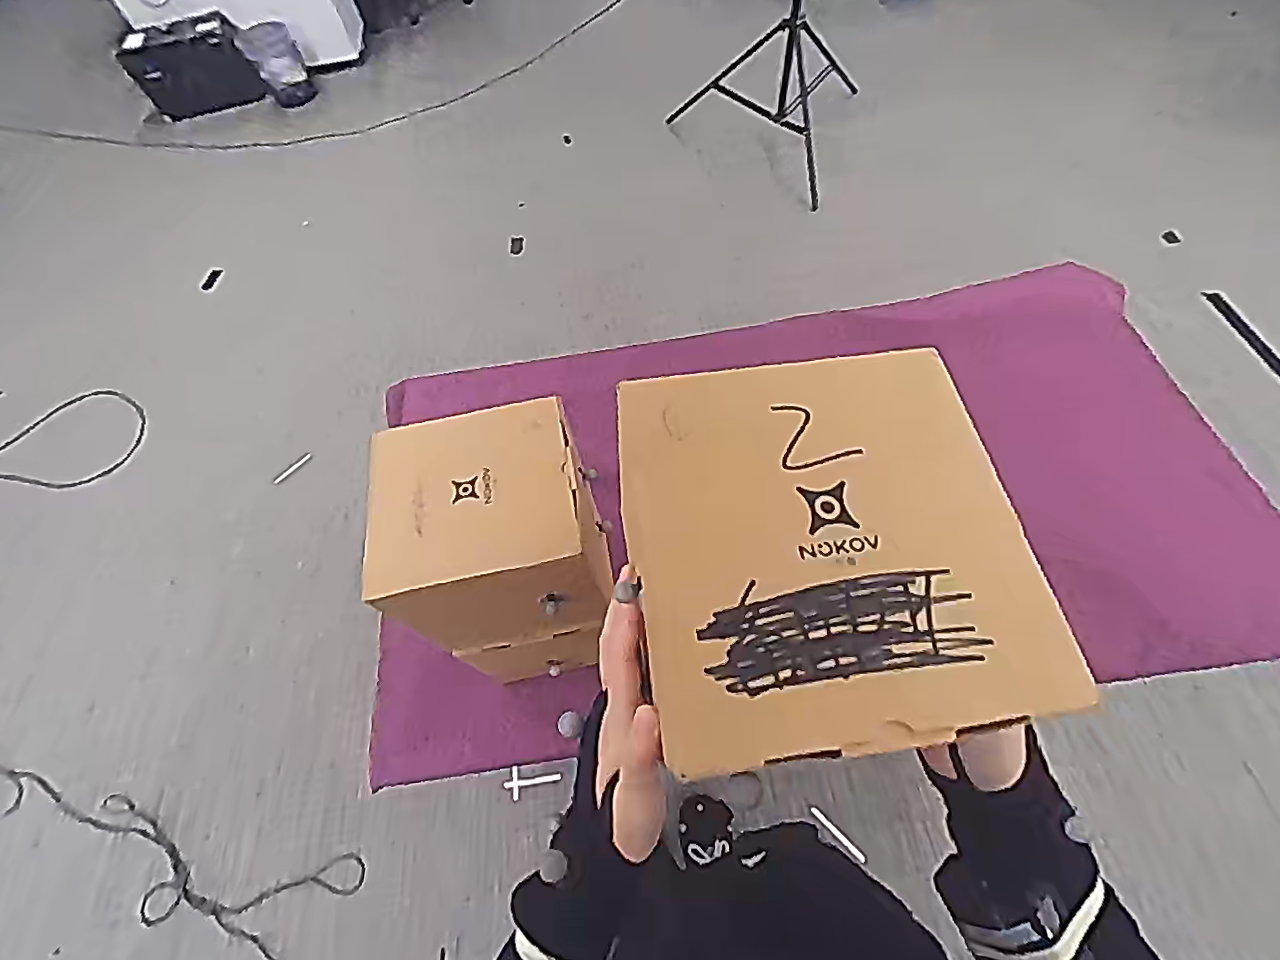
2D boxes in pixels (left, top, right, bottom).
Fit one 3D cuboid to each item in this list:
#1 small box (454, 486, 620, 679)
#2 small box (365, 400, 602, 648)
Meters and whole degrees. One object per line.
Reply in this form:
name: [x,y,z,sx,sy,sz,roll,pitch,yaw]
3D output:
small box: [-0.123,0.131,0.671,0.168,0.176,0.179,-12,61,-1]
small box: [-0.138,0.051,0.531,0.179,0.176,0.168,-13,59,-1]
